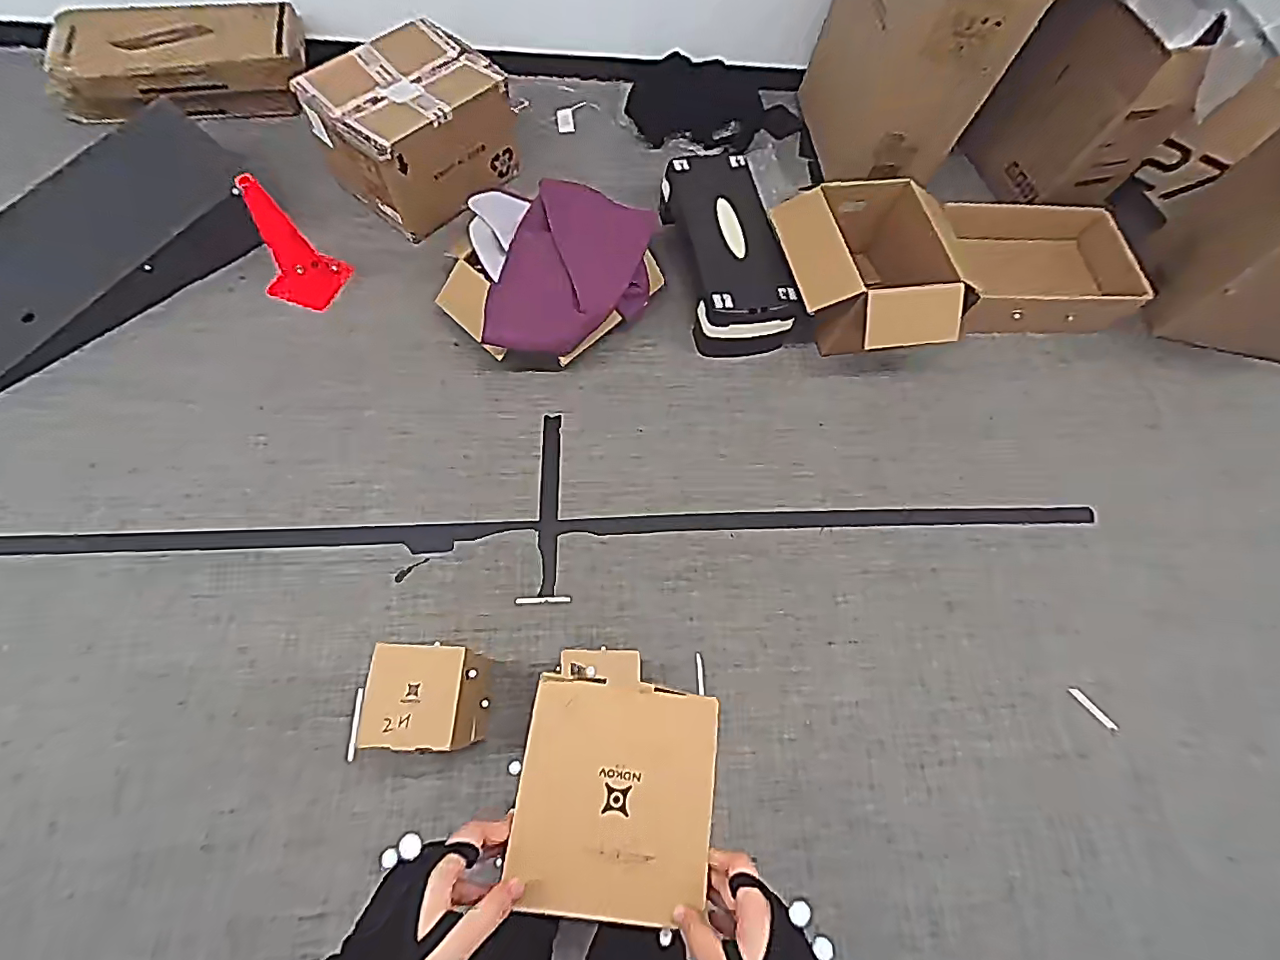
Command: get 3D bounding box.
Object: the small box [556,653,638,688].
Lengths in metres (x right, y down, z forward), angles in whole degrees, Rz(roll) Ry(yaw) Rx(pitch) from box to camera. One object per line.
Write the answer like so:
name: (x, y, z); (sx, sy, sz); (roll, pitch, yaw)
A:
small box: (-0.100, 0.486, 1.218); (0.179, 0.176, 0.168); (3, 67, -6)

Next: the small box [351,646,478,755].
small box: (-0.416, 0.421, 1.033); (0.168, 0.176, 0.179); (4, 67, -3)

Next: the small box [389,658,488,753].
small box: (-0.432, 0.489, 1.183); (0.168, 0.176, 0.179); (-1, 68, -6)

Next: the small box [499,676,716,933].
small box: (-0.031, 0.297, 0.530); (0.168, 0.176, 0.179); (9, 68, -4)
